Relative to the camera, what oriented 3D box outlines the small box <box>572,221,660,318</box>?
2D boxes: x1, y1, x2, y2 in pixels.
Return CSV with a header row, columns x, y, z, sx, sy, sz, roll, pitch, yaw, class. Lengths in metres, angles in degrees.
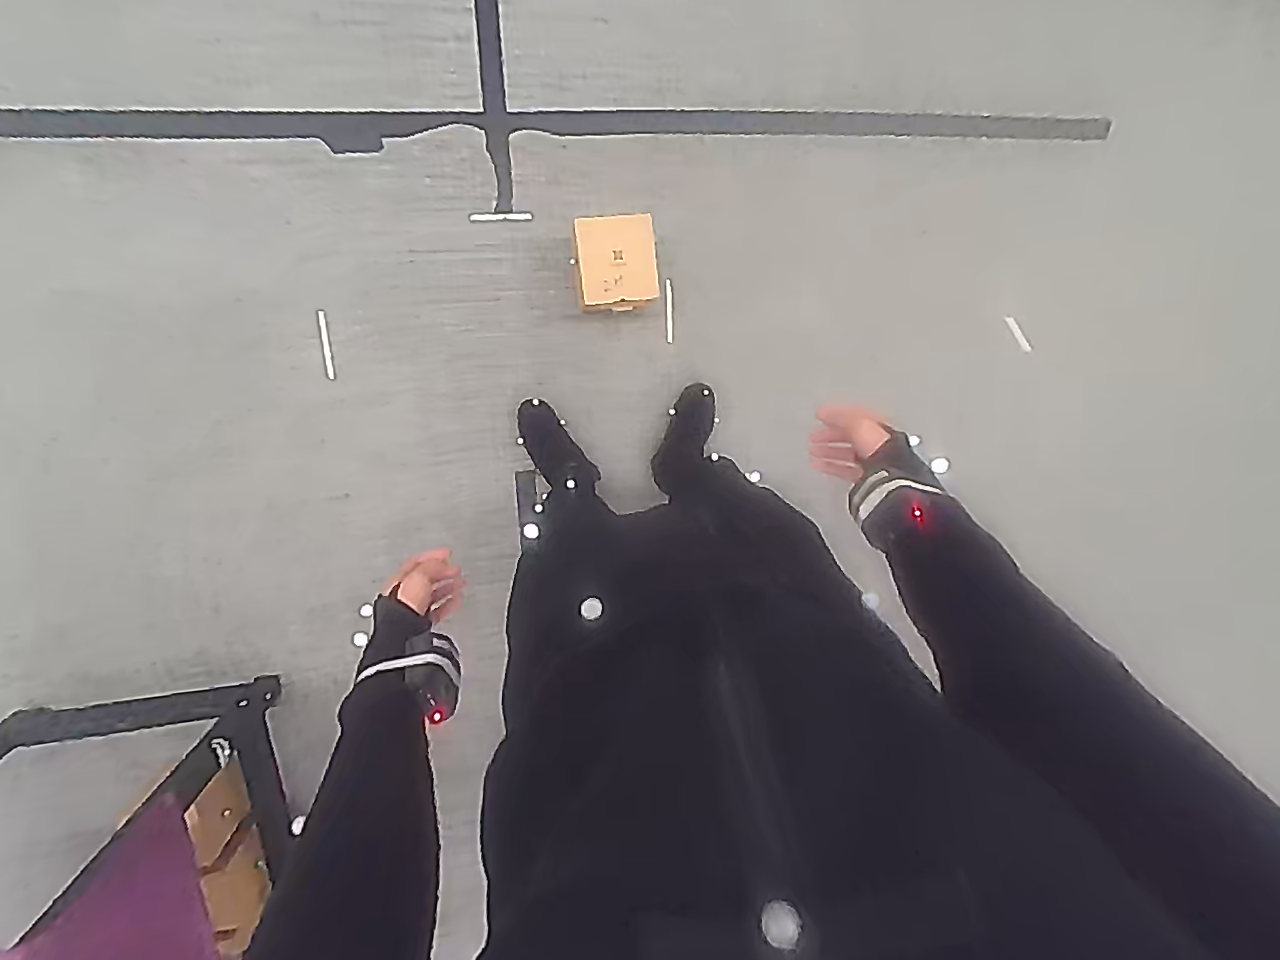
x,y,z,sx,sy,sz,roll,pitch,yaw,class
-0.058,-0.469,1.221,0.168,0.176,0.179,-8,104,-8,small box
